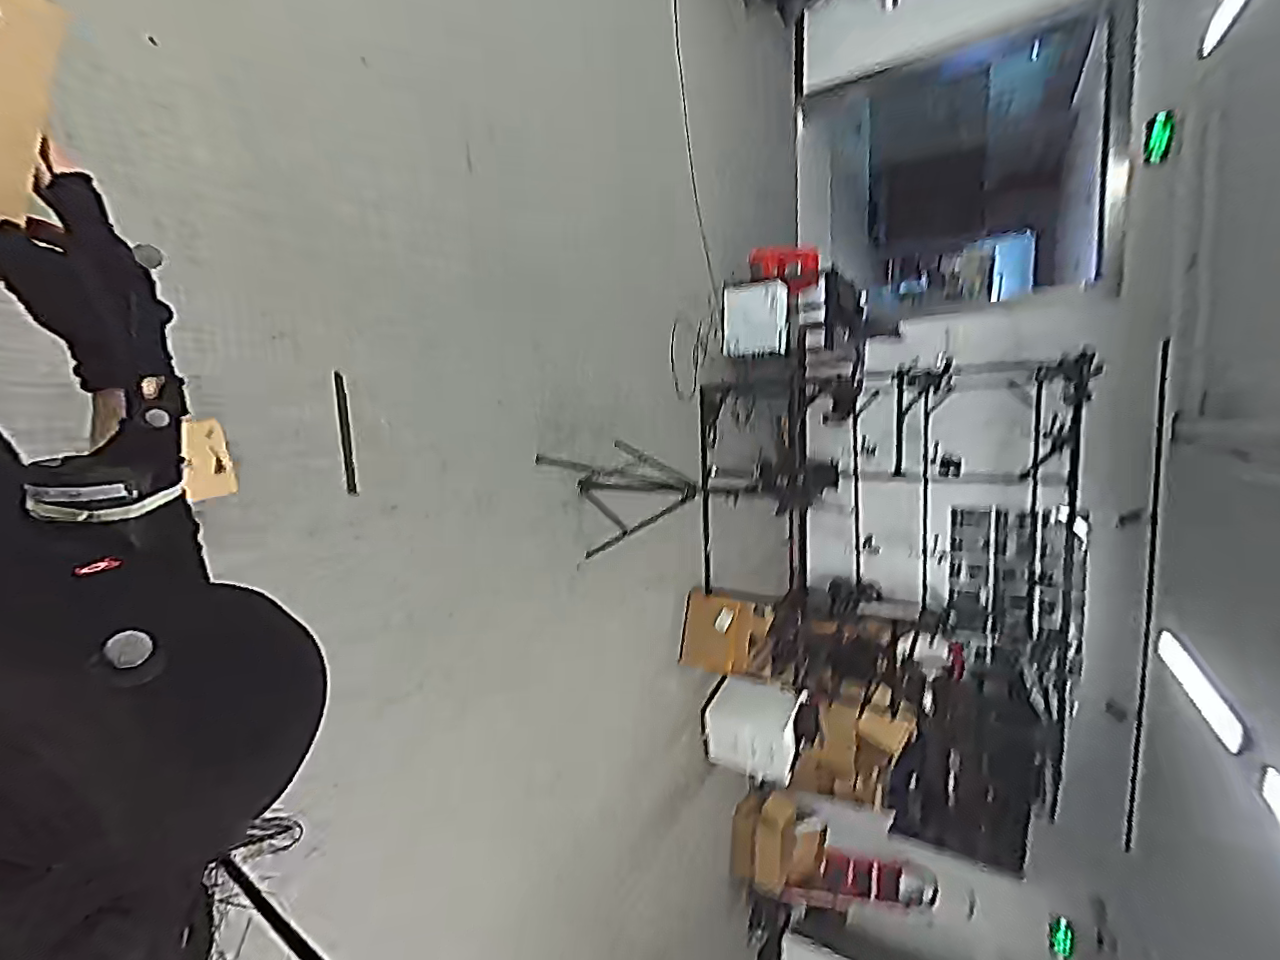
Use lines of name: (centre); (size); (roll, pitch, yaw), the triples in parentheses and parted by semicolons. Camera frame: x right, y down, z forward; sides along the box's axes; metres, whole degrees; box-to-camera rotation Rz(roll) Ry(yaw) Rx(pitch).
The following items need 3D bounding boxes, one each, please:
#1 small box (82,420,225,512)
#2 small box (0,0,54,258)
small box: (-1.039, -0.033, 1.153); (0.179, 0.176, 0.168); (-23, 112, -56)
small box: (-0.473, -0.230, 0.288); (0.168, 0.176, 0.179); (13, 83, -64)
